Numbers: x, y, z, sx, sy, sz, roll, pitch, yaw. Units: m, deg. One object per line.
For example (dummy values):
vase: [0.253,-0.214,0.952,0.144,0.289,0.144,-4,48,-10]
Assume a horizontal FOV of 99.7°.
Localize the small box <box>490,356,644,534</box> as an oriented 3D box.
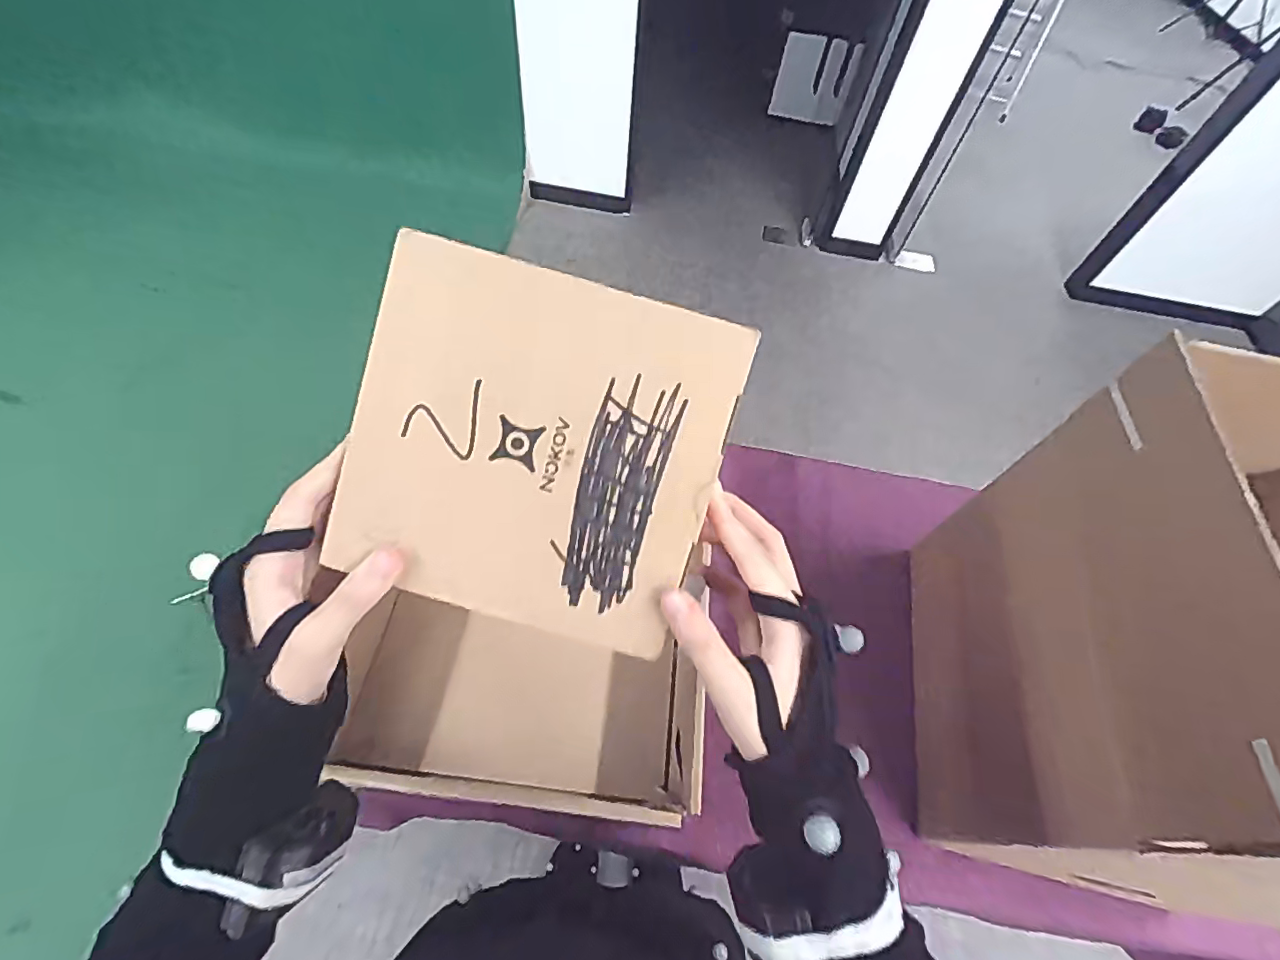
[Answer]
small box: [-0.092,-0.043,0.759,0.168,0.176,0.179,10,57,2]
